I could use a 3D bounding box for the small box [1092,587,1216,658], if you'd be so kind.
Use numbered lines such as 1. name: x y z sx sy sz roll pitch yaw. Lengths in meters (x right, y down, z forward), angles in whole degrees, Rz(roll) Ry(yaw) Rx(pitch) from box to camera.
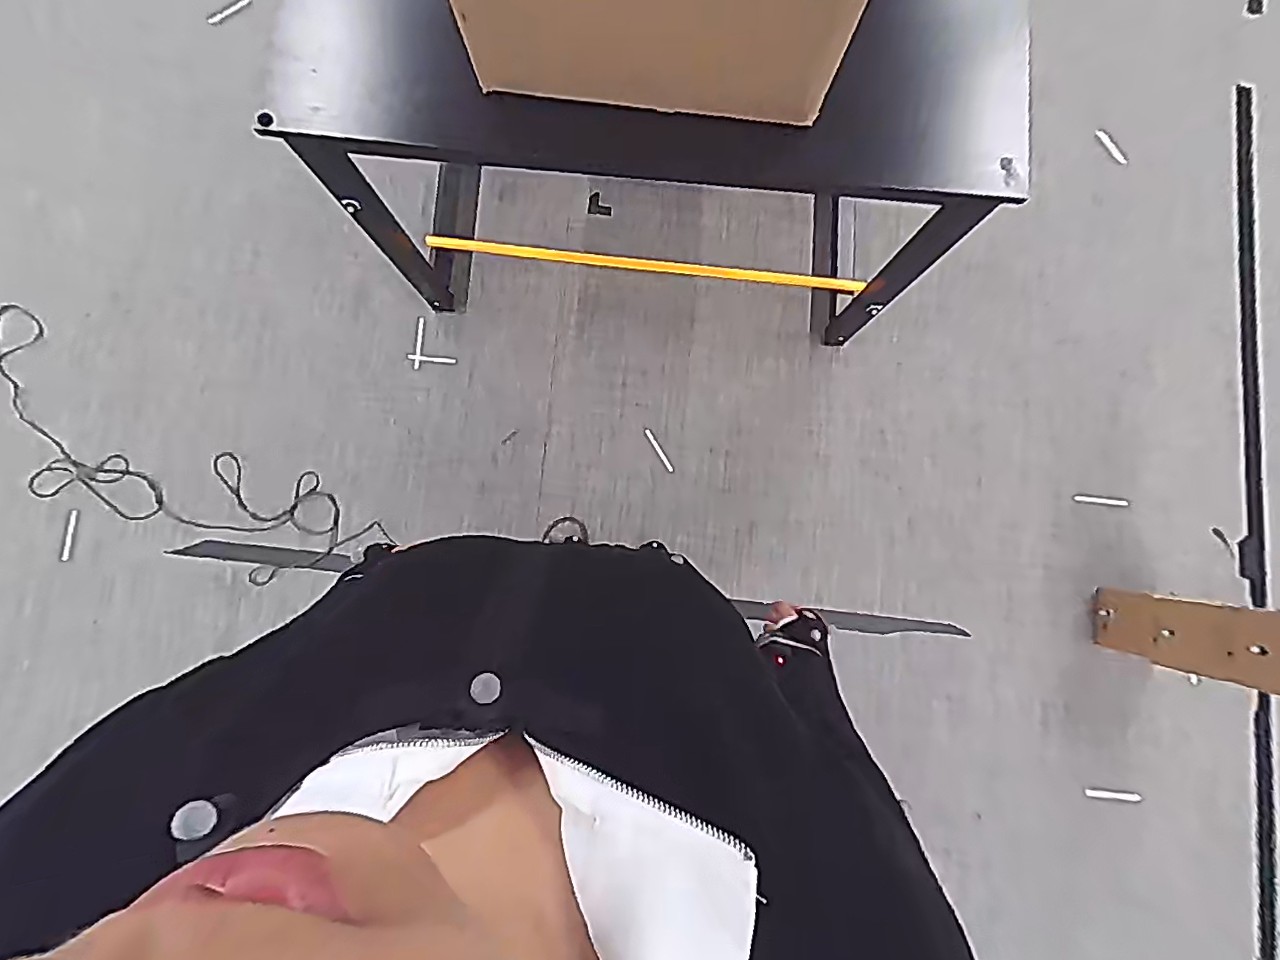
1. small box: 1.357 0.380 1.434 0.179 0.176 0.168 5 84 1

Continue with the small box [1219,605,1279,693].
1. small box: 1.352 0.355 1.106 0.179 0.176 0.168 7 84 0

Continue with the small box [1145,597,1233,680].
1. small box: 1.351 0.371 1.269 0.179 0.176 0.168 6 84 0
